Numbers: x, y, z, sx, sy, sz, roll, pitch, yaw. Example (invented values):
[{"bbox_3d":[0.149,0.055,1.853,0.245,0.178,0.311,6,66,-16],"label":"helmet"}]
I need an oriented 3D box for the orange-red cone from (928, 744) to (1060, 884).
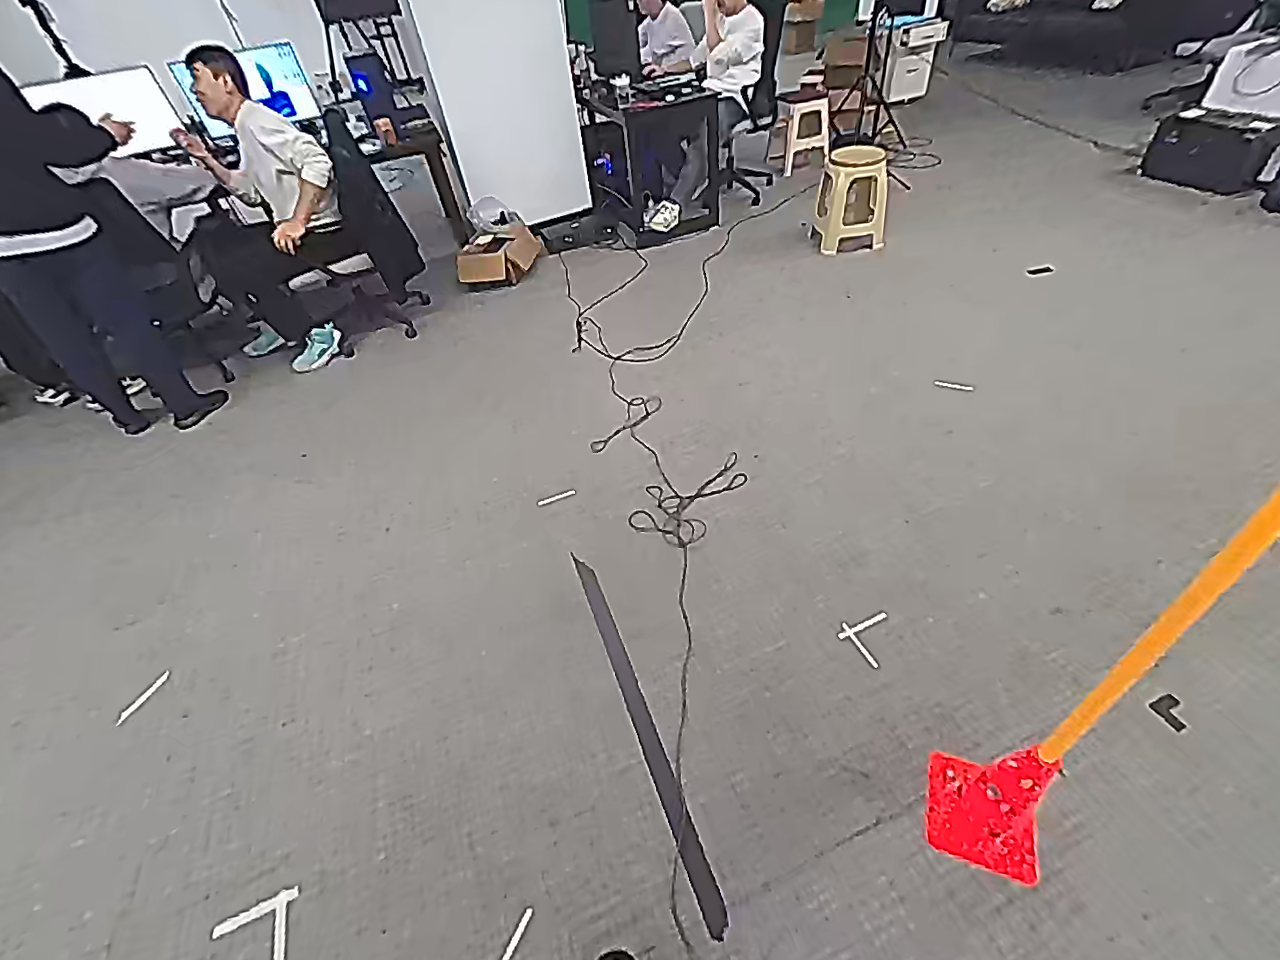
[{"bbox_3d":[0.691,0.576,1.006,0.198,0.360,0.199,12,49,22],"label":"orange-red cone"}]
